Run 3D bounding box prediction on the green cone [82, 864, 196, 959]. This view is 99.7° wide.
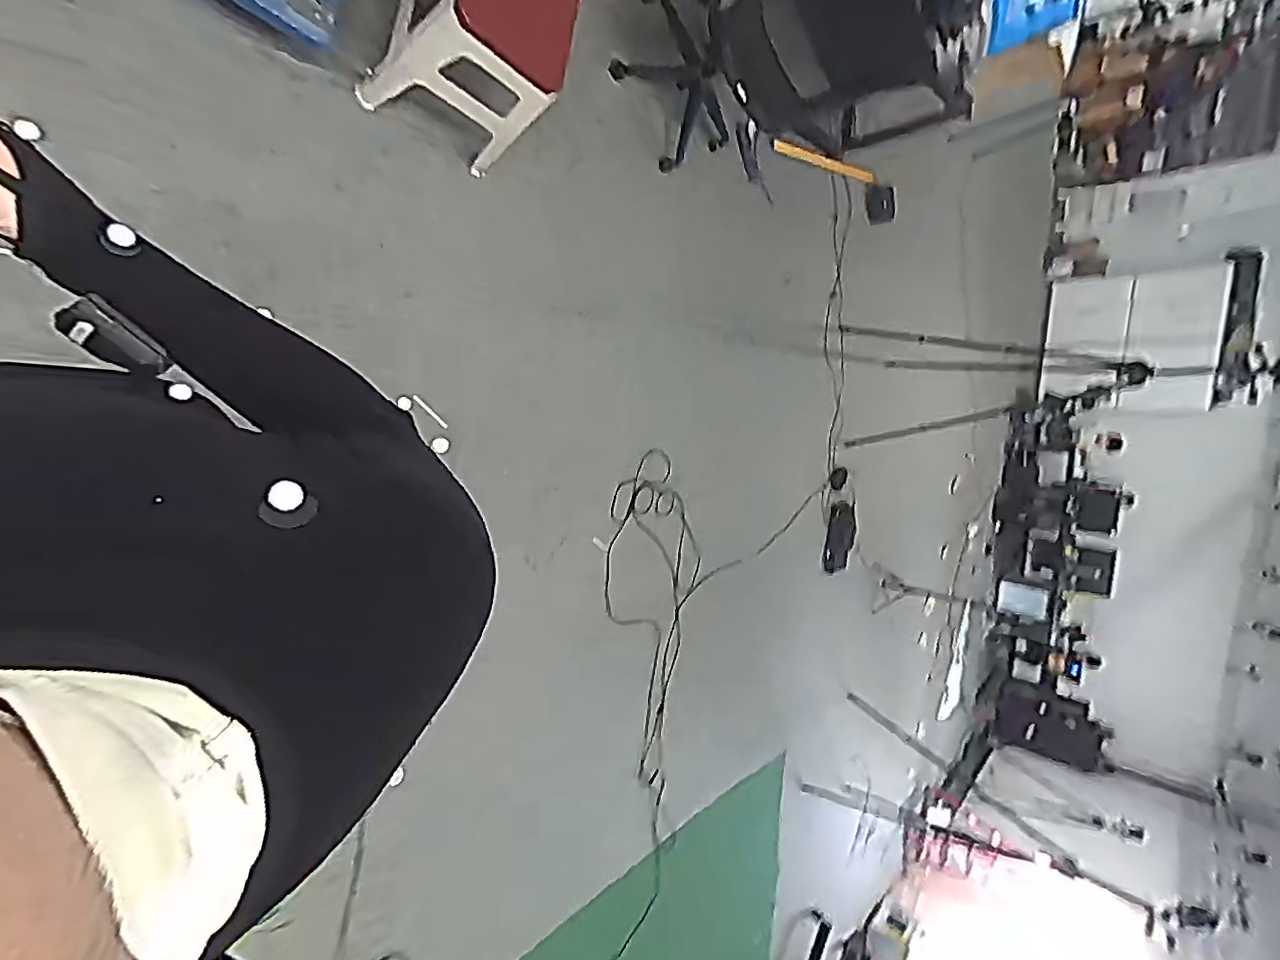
[{"bbox_3d":[-1.105,1.106,1.216,0.202,0.368,0.200,-5,101,-46],"label":"green cone"}]
